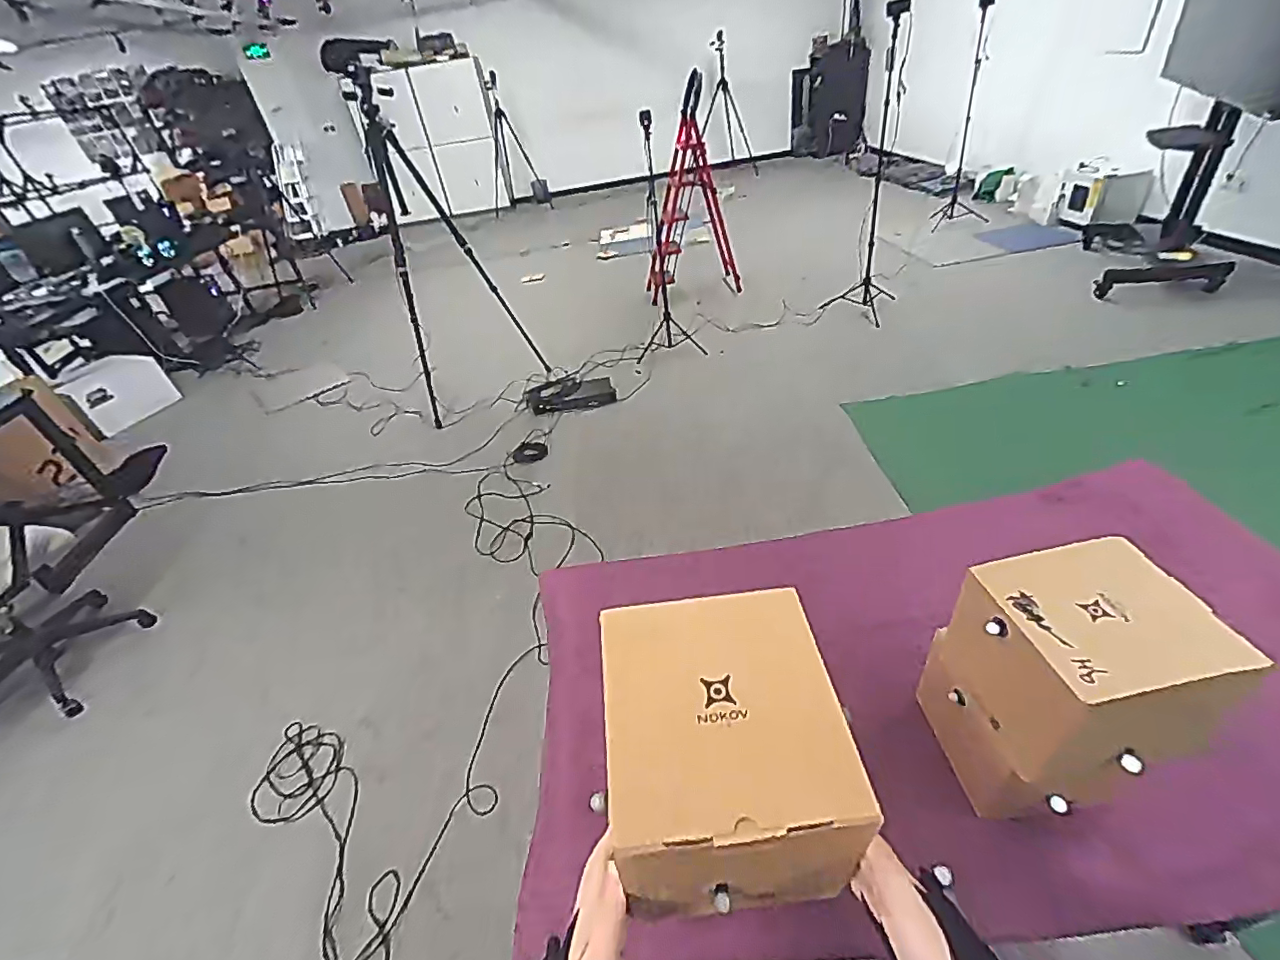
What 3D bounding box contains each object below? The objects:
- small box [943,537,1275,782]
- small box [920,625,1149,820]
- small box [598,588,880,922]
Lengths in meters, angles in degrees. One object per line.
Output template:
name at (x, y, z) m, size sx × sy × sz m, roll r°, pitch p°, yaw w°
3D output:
small box at (0.457, 0.187, 0.568) m, size 0.179 × 0.176 × 0.168 m, roll -10°, pitch 37°, yaw -1°
small box at (0.485, 0.298, 0.689) m, size 0.168 × 0.176 × 0.179 m, roll -9°, pitch 37°, yaw 2°
small box at (0.057, 0.213, 0.428) m, size 0.168 × 0.176 × 0.179 m, roll -7°, pitch 41°, yaw -2°
